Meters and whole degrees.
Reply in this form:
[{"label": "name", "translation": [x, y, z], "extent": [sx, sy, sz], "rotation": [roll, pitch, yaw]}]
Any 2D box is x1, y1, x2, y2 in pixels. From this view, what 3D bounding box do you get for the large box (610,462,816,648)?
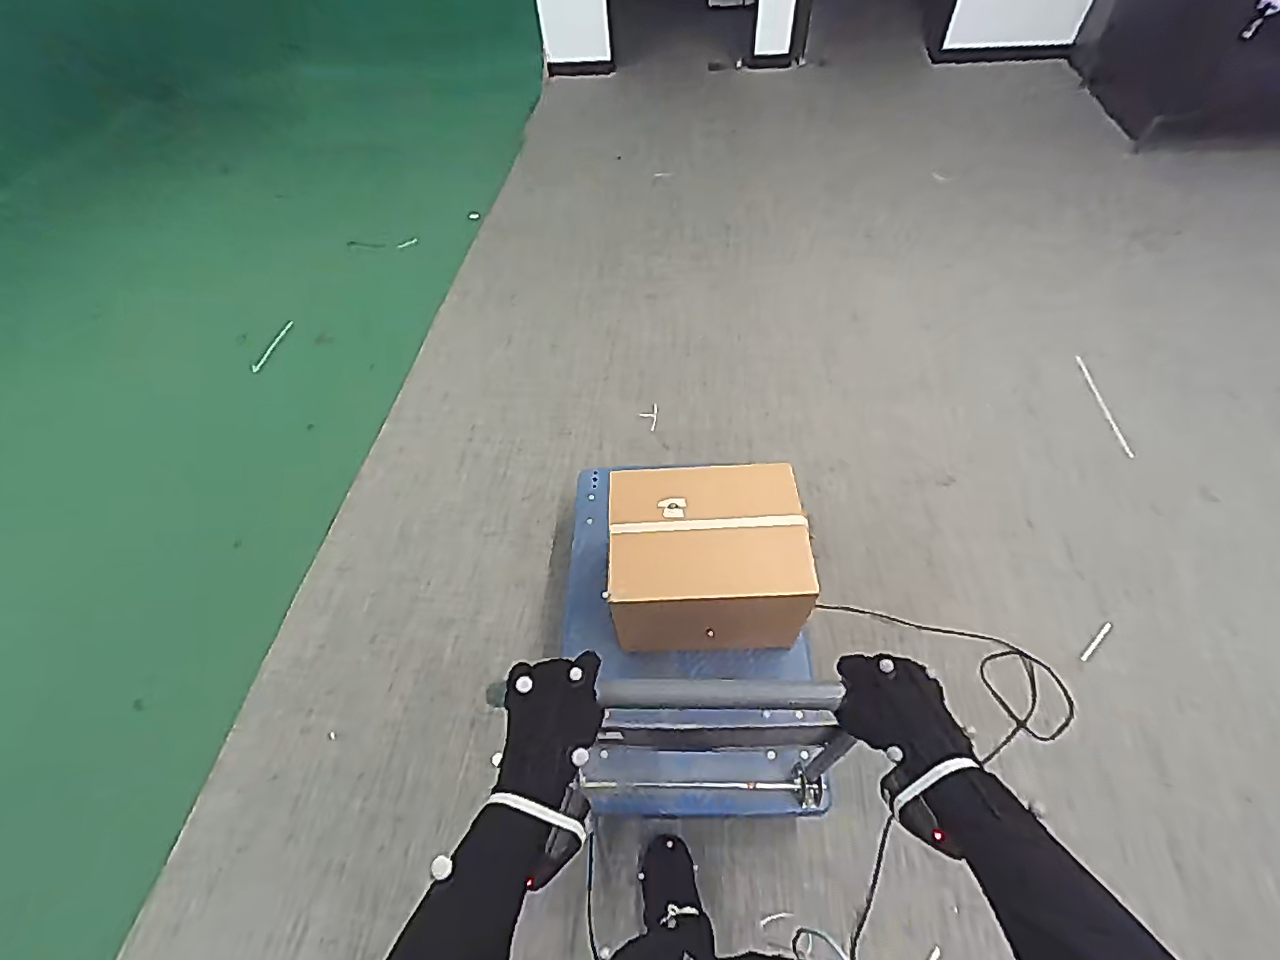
[{"label": "large box", "translation": [0.150, 0.183, 1.247], "extent": [0.408, 0.320, 0.320], "rotation": [-4, 54, 4]}]
